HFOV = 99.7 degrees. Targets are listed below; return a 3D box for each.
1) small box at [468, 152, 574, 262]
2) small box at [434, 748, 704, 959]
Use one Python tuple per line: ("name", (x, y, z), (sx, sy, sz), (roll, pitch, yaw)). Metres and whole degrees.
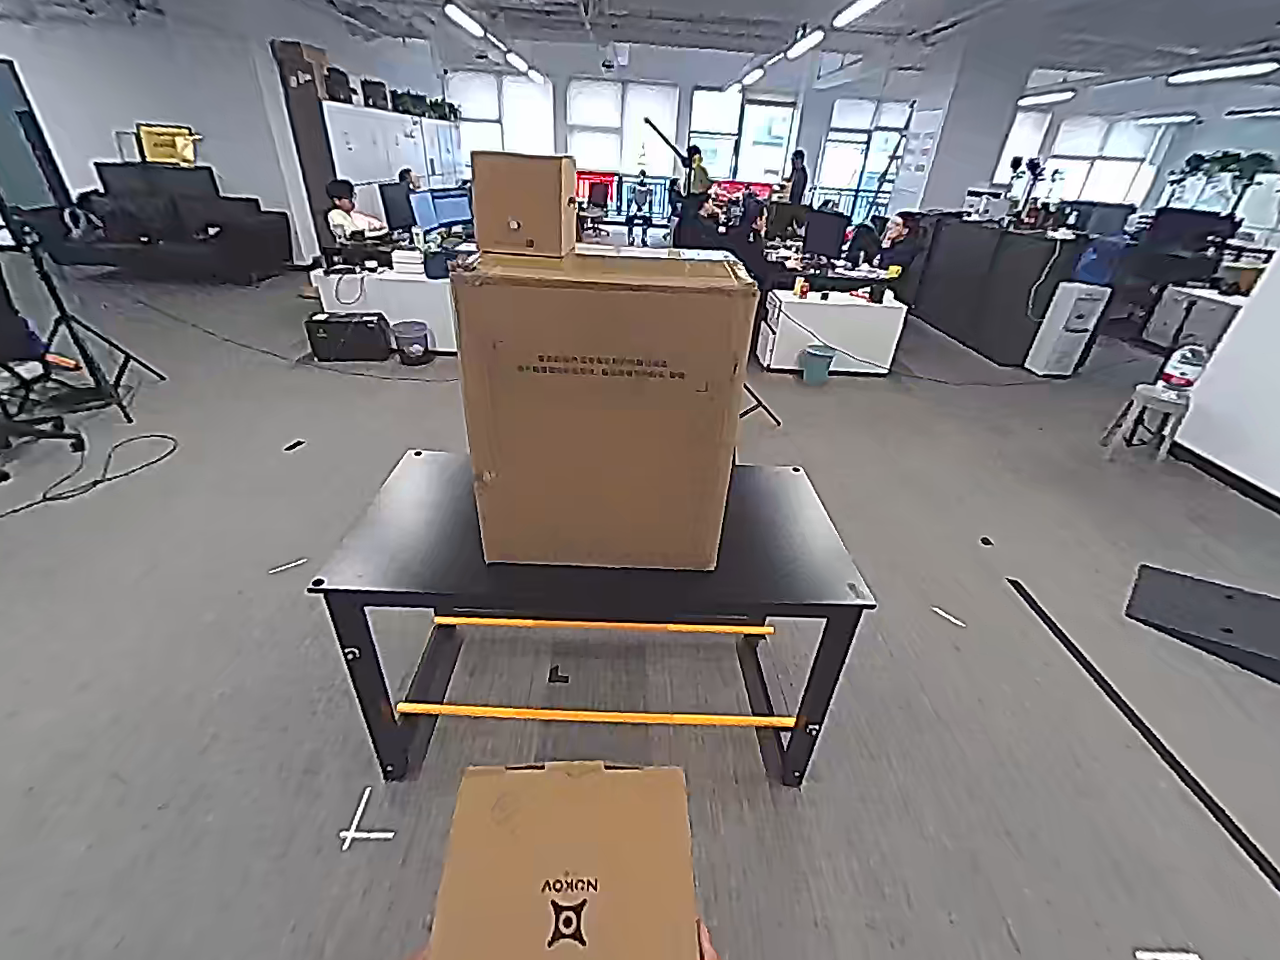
("small box", (-0.224, -0.535, 1.057), (0.168, 0.176, 0.179), (4, 31, 0))
("small box", (-0.050, 0.324, 0.405), (0.168, 0.176, 0.179), (1, 44, -5))
